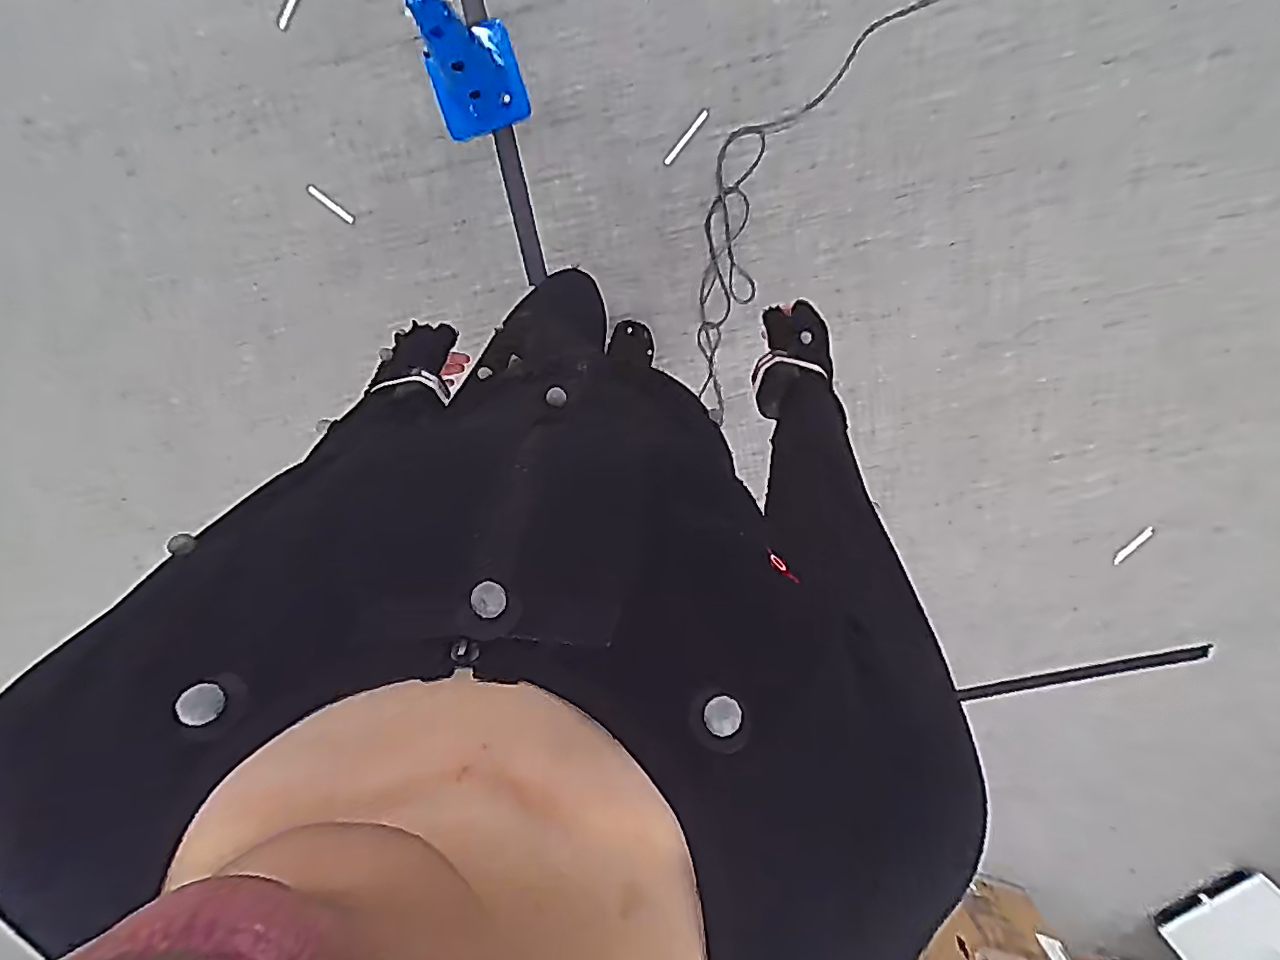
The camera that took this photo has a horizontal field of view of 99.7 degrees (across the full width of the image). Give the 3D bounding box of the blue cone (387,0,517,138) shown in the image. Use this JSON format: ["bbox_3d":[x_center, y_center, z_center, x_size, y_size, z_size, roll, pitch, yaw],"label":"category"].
[{"bbox_3d":[-0.385,-0.847,1.058,0.192,0.380,0.193,-14,106,5],"label":"blue cone"}]
